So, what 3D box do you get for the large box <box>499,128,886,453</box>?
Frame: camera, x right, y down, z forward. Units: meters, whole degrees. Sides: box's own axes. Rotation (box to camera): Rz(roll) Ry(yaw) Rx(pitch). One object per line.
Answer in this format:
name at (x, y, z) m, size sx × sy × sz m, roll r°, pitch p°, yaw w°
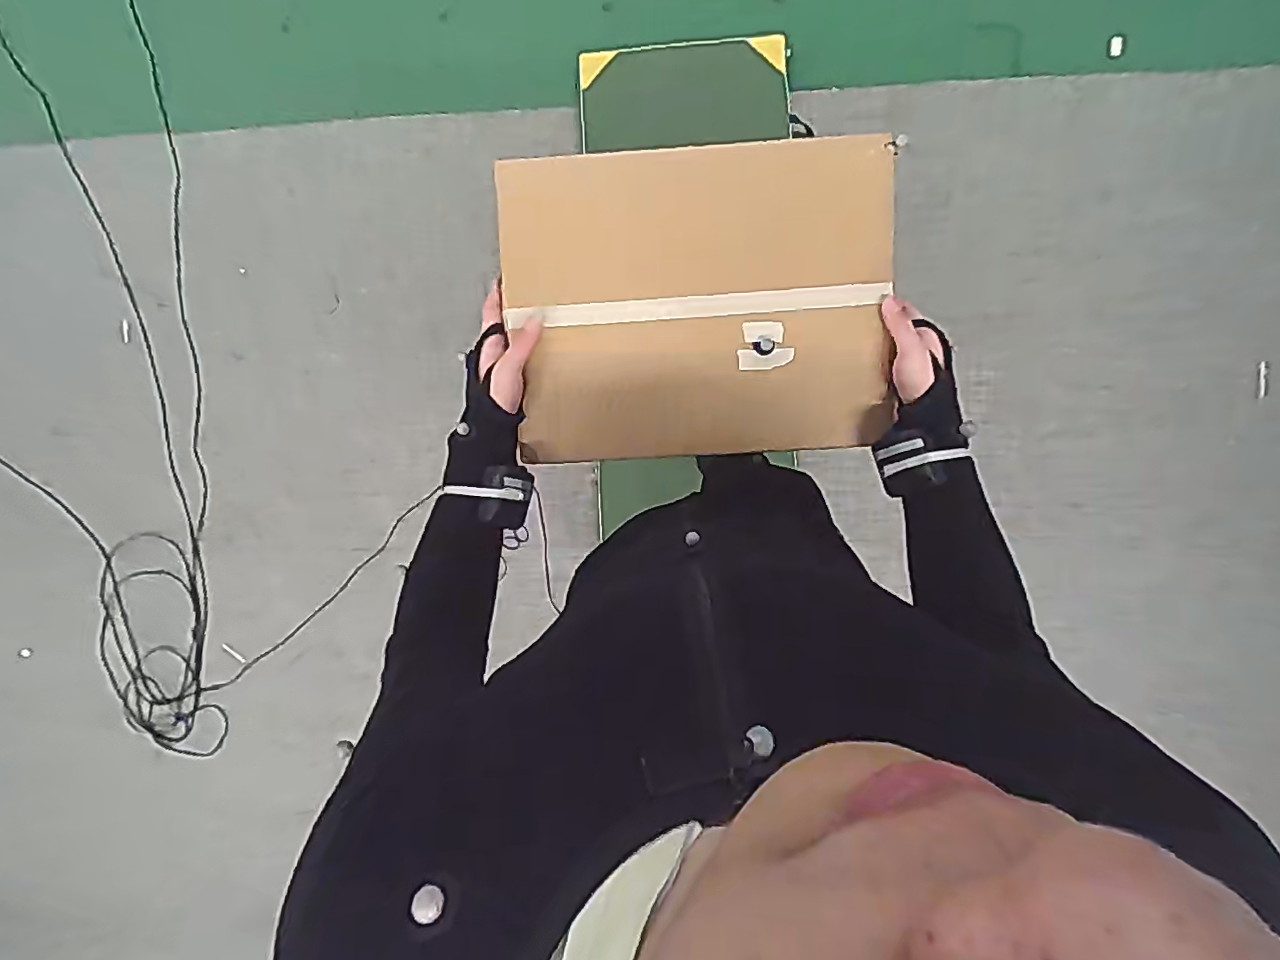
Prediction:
large box at (0.061, -0.214, 0.723) m, size 0.408 × 0.320 × 0.320 m, roll -3°, pitch 98°, yaw 1°
